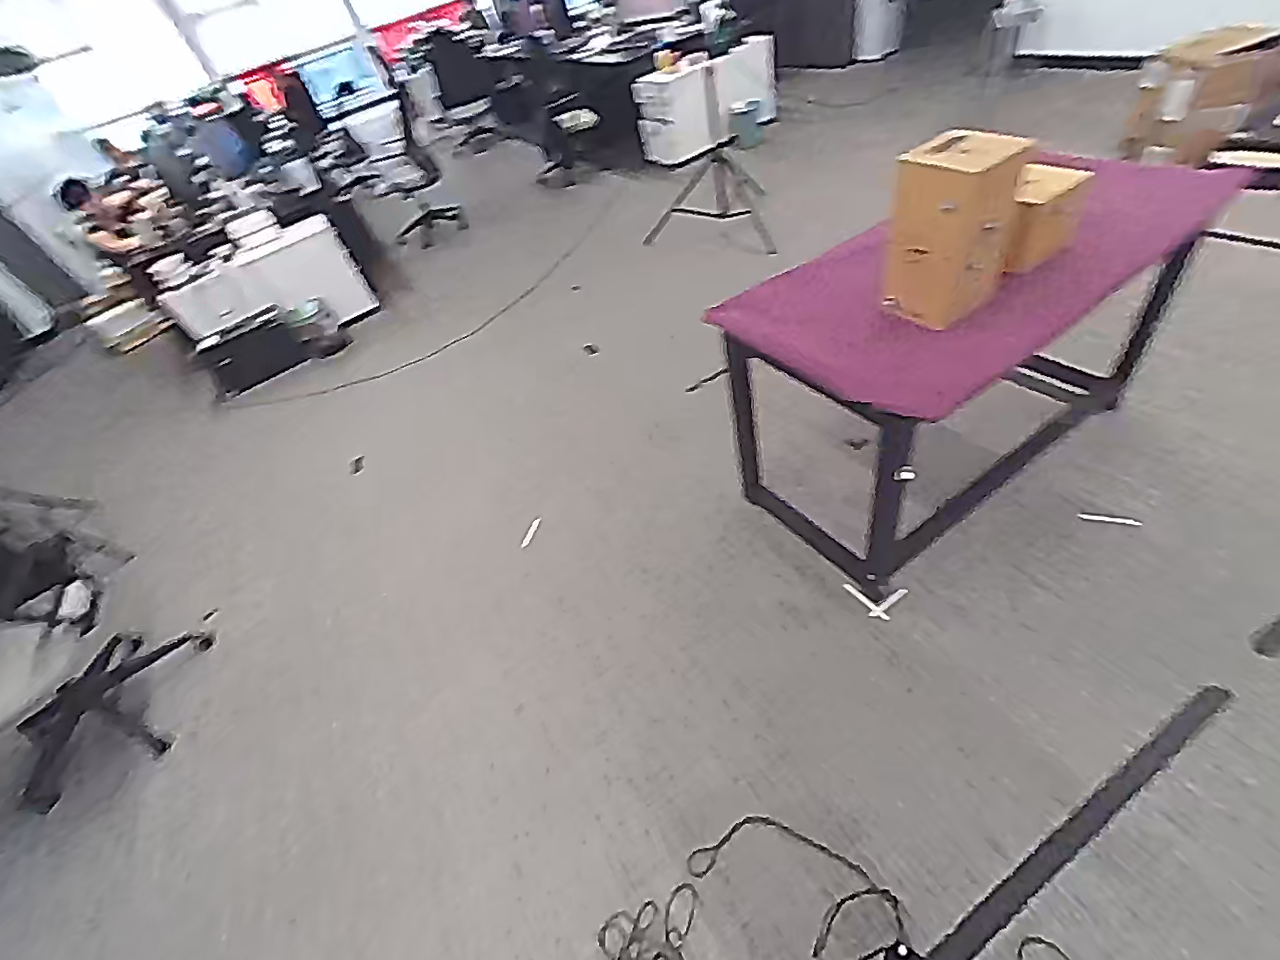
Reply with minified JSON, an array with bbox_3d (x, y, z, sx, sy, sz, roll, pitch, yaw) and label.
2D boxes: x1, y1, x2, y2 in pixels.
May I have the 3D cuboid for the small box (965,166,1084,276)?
[{"bbox_3d":[0.899,-0.620,1.298,0.179,0.176,0.168,-32,47,-13],"label":"small box"}]

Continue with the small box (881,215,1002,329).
[{"bbox_3d":[0.669,-0.468,1.224,0.179,0.176,0.168,-32,47,-14],"label":"small box"}]
